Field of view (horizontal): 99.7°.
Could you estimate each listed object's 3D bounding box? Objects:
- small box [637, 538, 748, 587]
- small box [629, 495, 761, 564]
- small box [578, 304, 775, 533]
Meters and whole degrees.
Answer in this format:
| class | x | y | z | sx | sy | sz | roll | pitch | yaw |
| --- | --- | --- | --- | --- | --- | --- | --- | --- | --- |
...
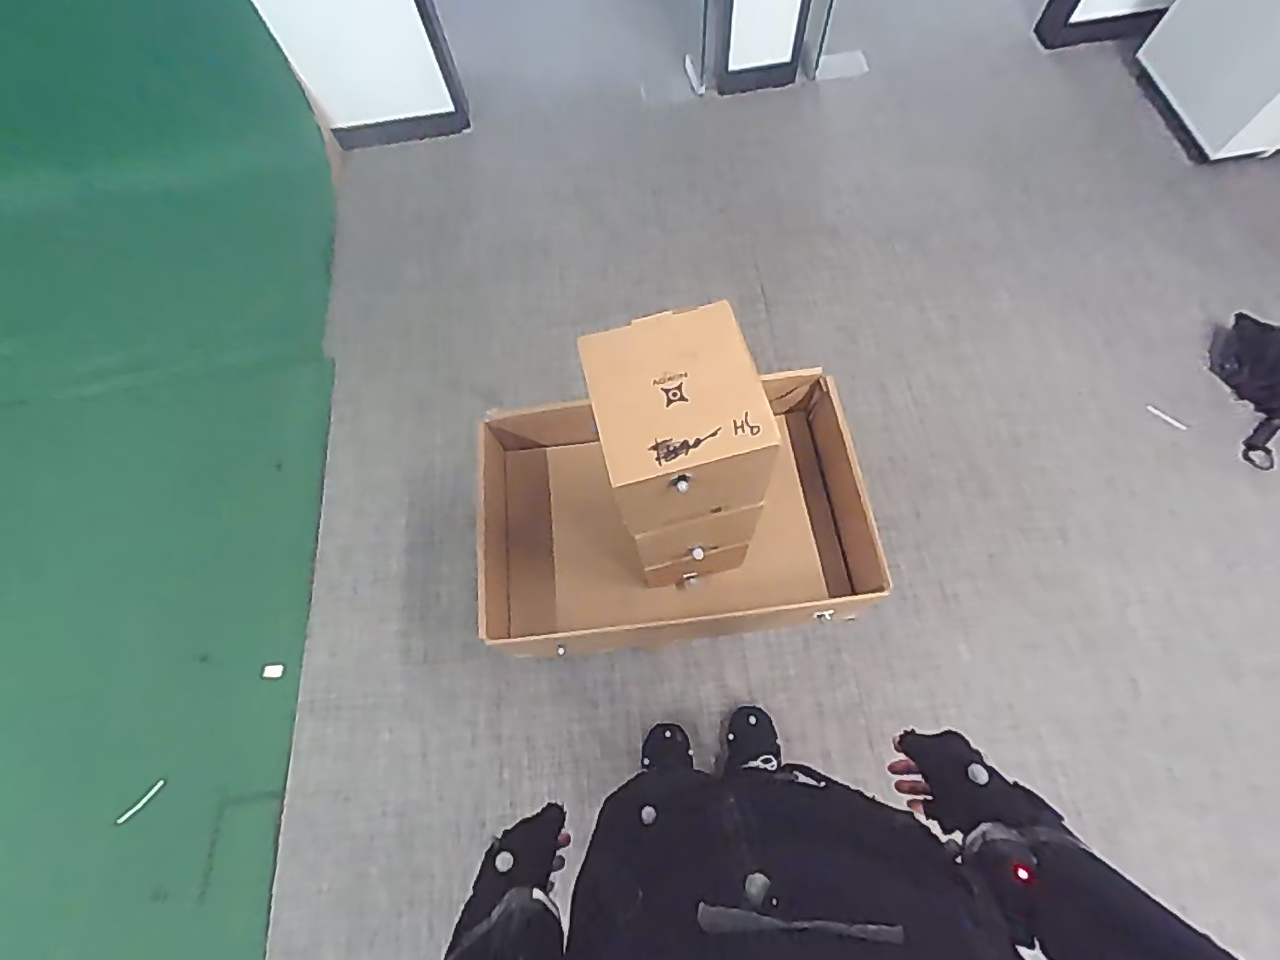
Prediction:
| class | x | y | z | sx | sy | sz | roll | pitch | yaw |
| --- | --- | --- | --- | --- | --- | --- | --- | --- | --- |
| small box | 0.071 | 0.066 | 0.913 | 0.168 | 0.176 | 0.179 | -14 | 68 | 0 |
| small box | 0.058 | 0.002 | 0.762 | 0.168 | 0.176 | 0.179 | -14 | 68 | 1 |
| small box | 0.038 | -0.060 | 0.612 | 0.168 | 0.176 | 0.179 | -15 | 67 | 1 |
